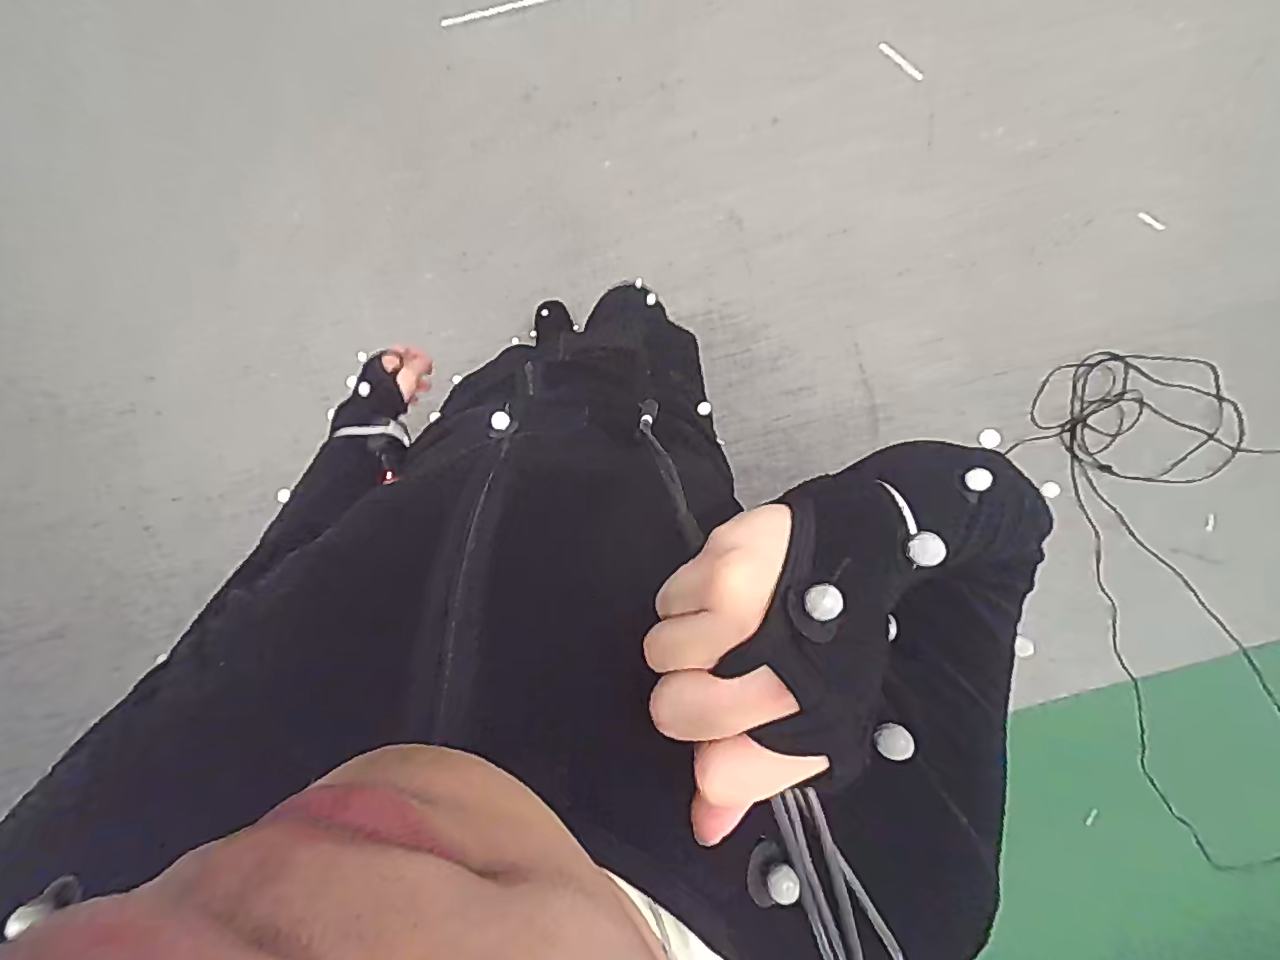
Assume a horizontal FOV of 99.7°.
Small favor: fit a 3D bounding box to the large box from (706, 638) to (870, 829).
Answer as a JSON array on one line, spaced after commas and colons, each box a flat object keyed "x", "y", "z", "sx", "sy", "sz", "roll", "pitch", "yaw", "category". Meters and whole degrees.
[{"x": 0.401, "y": 0.718, "z": 1.566, "sx": 0.320, "sy": 0.320, "sz": 0.408, "roll": 8, "pitch": 107, "yaw": -7, "category": "large box"}]
